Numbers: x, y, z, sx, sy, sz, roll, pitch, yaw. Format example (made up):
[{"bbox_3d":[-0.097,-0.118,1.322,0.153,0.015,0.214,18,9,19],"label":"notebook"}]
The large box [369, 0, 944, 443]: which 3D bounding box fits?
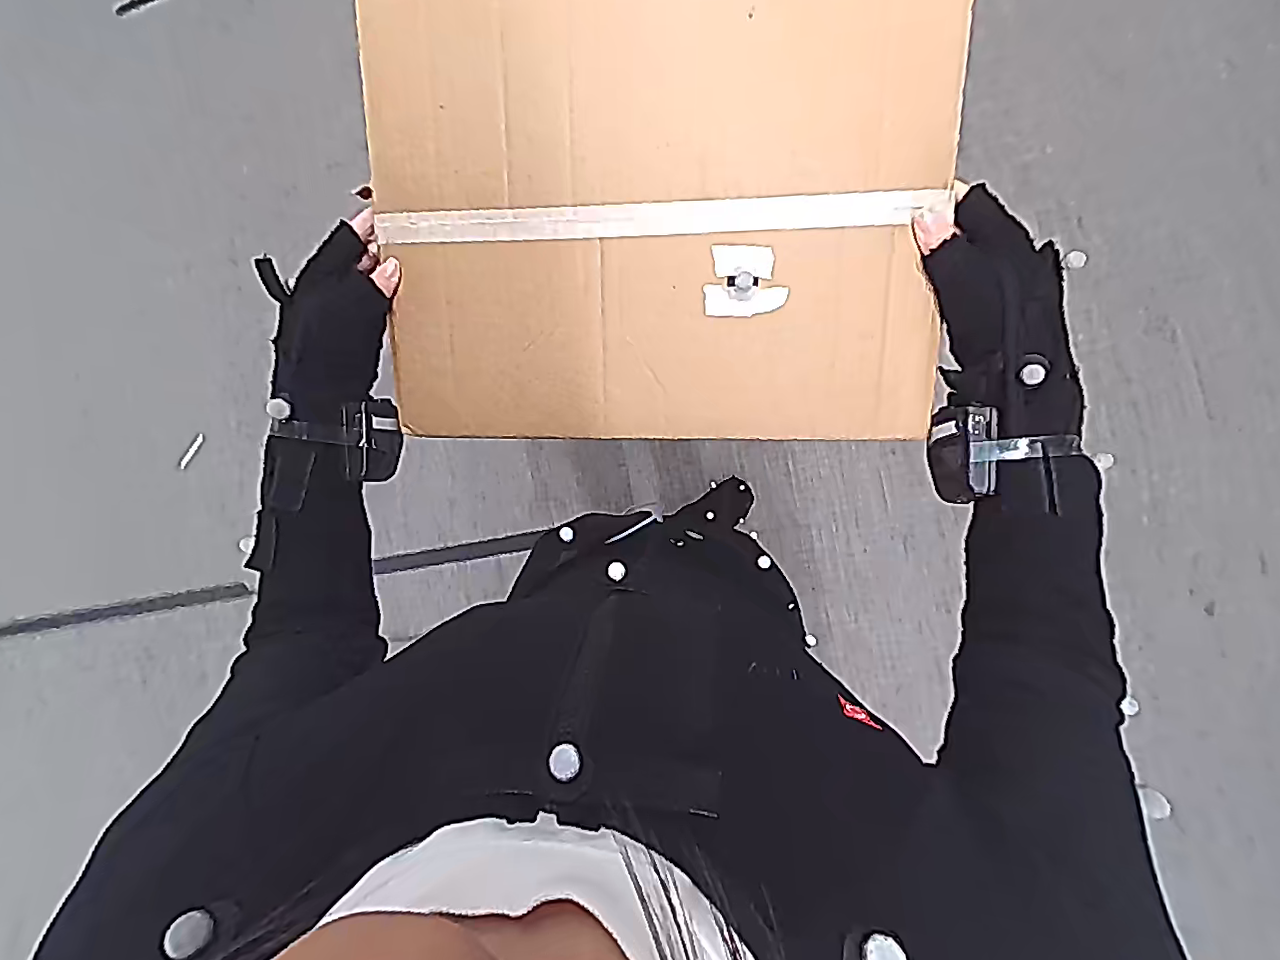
[{"bbox_3d":[0.019,-0.216,0.542,0.408,0.320,0.320,-1,102,5],"label":"large box"}]
